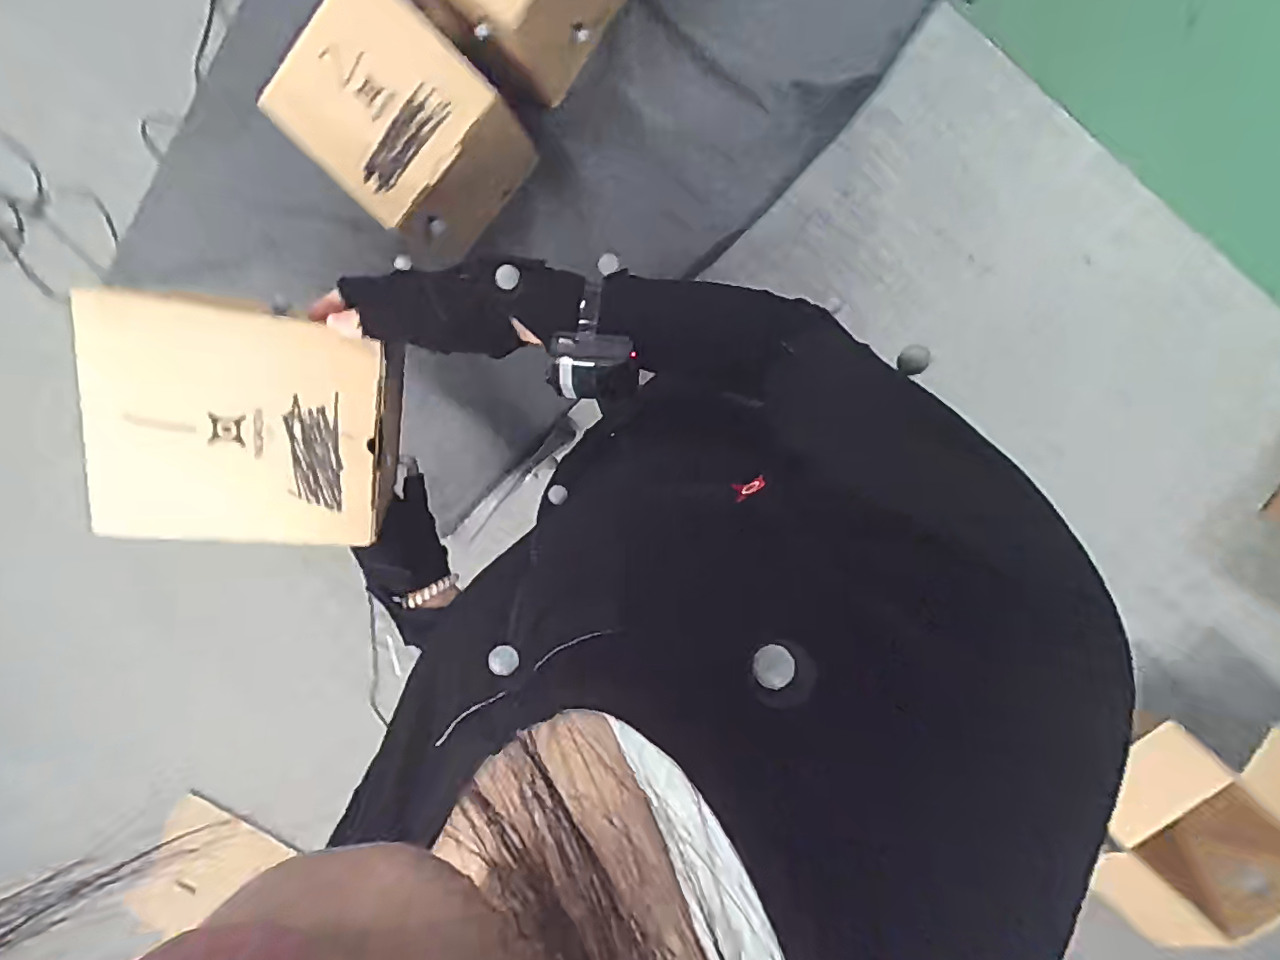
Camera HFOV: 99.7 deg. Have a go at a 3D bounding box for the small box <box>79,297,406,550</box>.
[{"bbox_3d":[-0.298,-0.053,0.449,0.179,0.176,0.168,5,106,-19],"label":"small box"}]
